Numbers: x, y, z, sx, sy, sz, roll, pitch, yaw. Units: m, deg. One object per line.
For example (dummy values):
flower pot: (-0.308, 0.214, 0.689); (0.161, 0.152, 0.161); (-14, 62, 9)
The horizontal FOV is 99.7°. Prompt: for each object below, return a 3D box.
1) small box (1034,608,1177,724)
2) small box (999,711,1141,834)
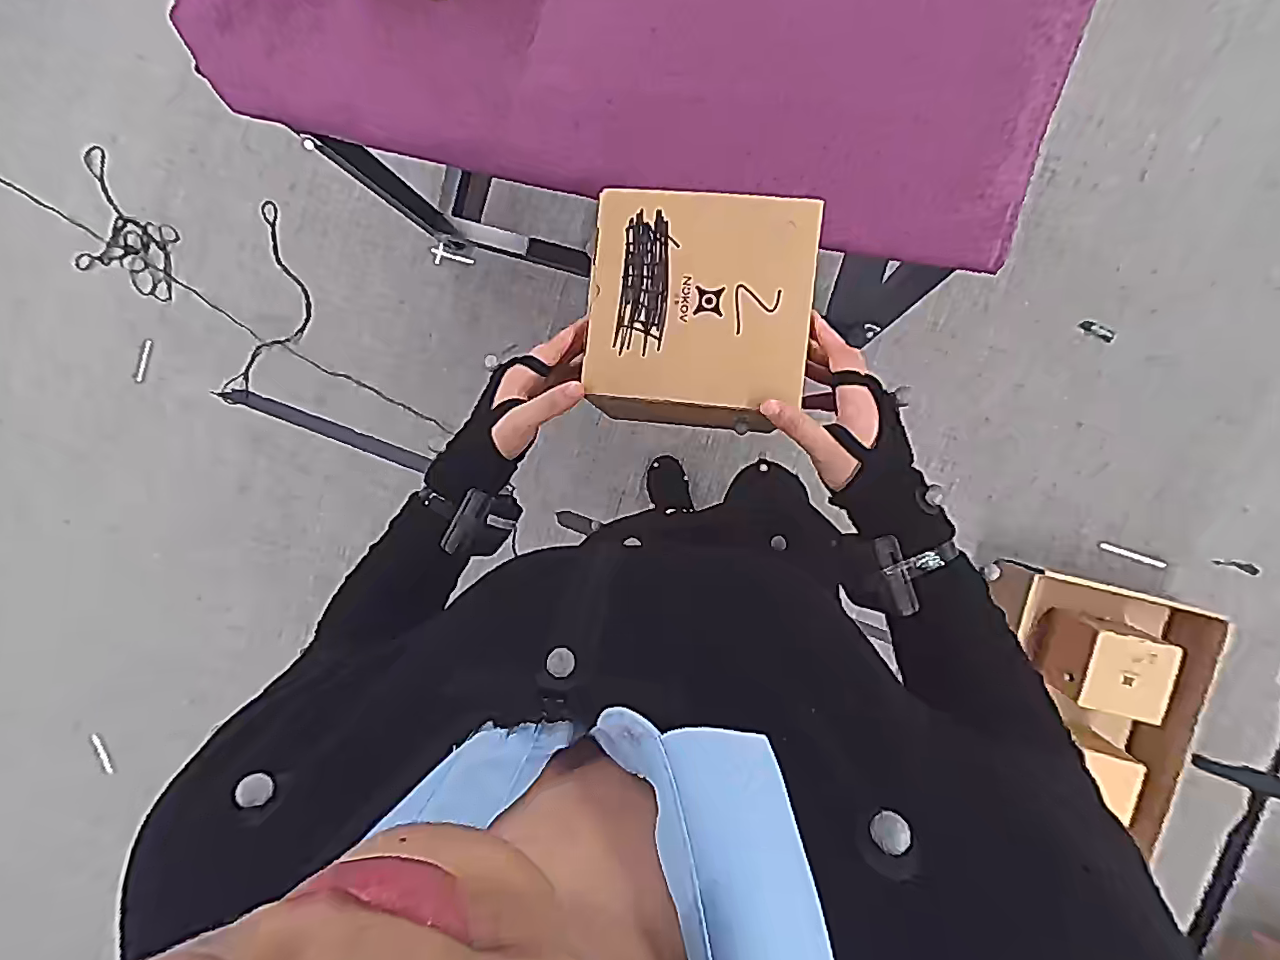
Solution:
small box: (1.045, 0.415, 1.233); (0.168, 0.176, 0.179); (12, 95, 7)
small box: (0.985, 0.666, 1.254); (0.179, 0.176, 0.168); (14, 93, 8)
